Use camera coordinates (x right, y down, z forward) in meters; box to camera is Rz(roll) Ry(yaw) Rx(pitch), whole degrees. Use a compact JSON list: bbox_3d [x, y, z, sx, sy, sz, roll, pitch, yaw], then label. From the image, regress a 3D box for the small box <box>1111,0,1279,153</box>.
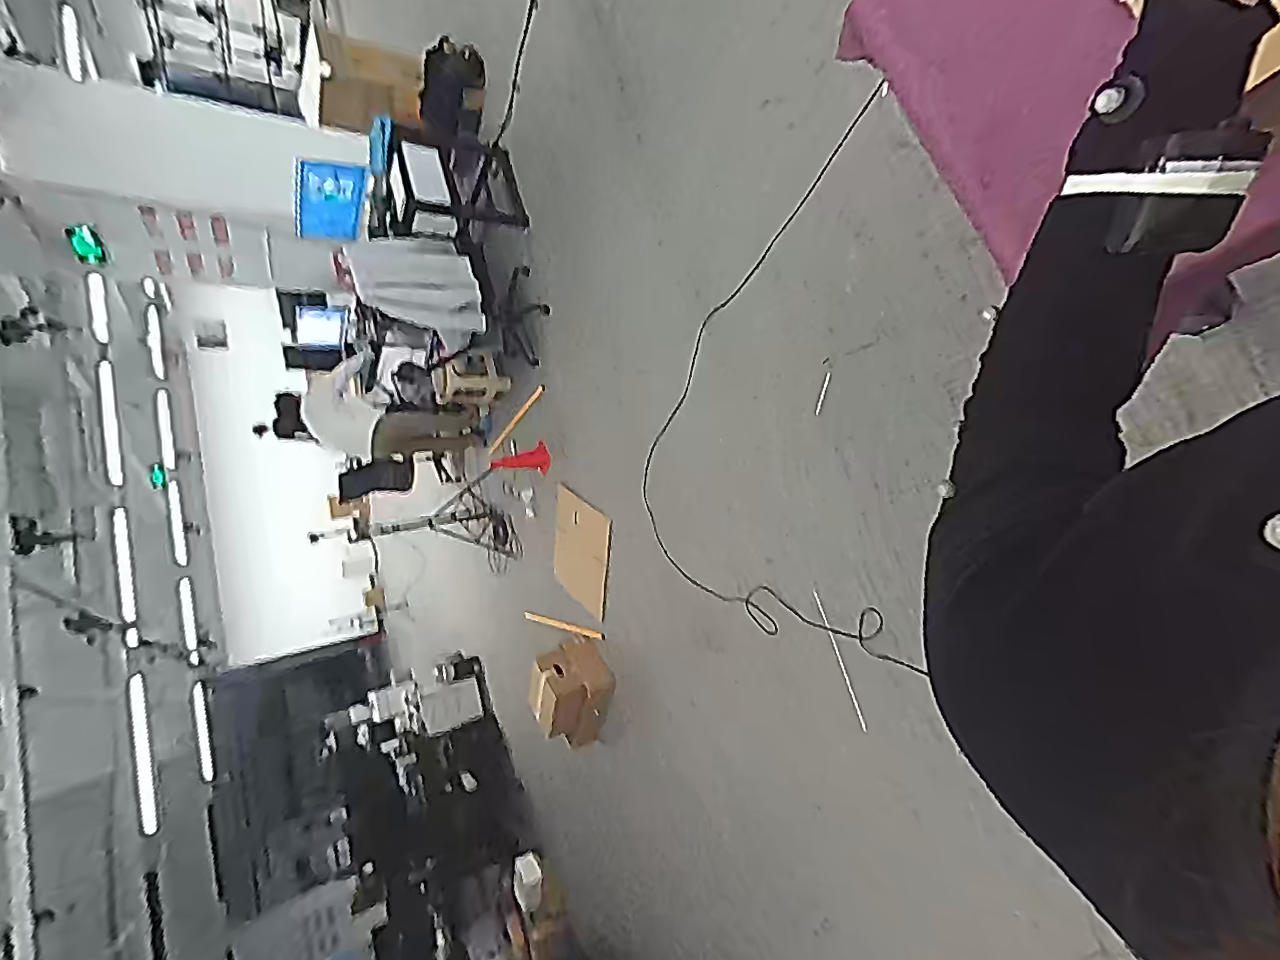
[{"bbox_3d":[0.539,-0.412,0.440,0.179,0.176,0.168,-38,66,52],"label":"small box"}]
